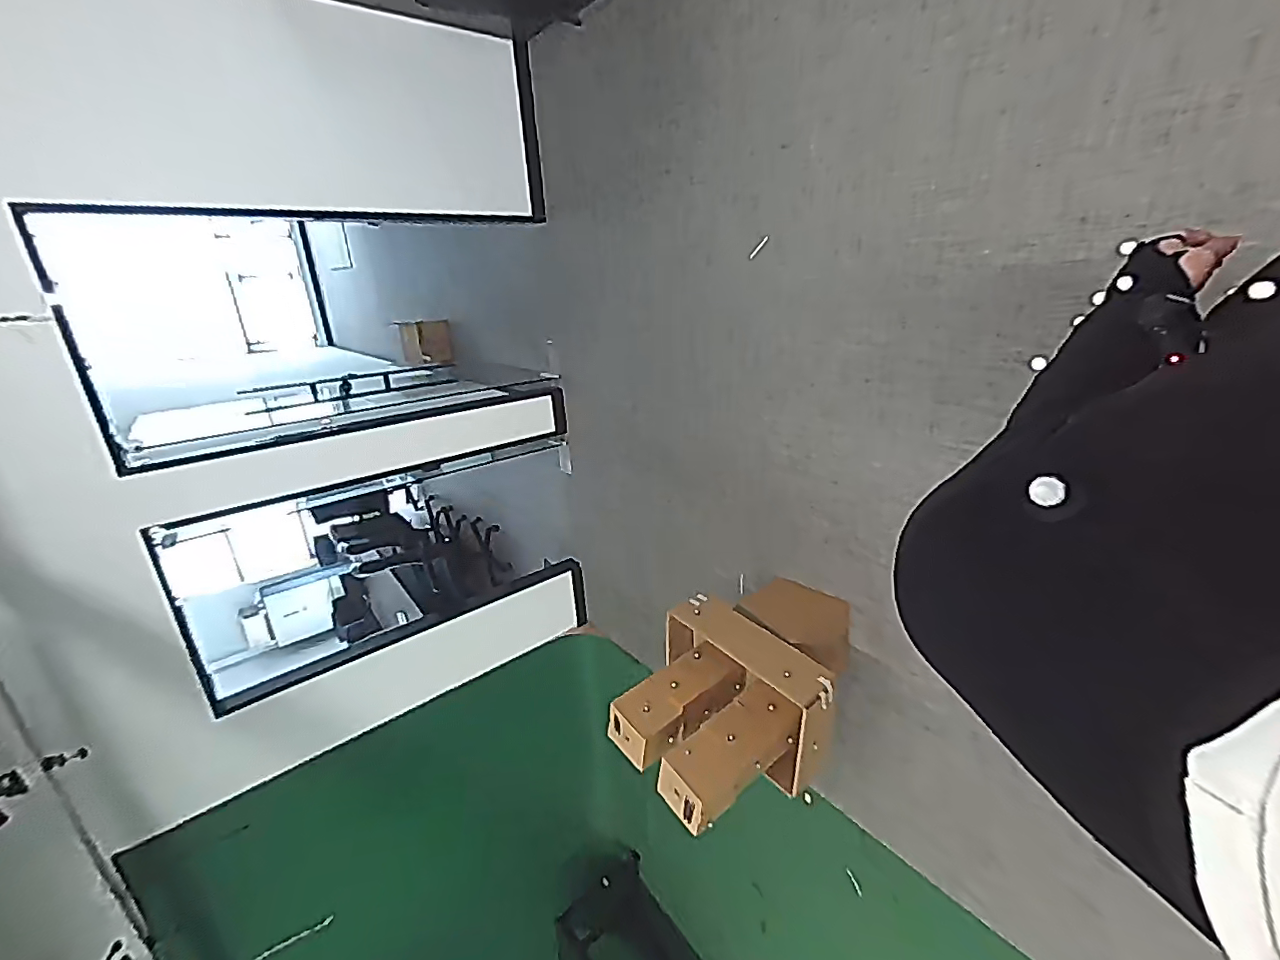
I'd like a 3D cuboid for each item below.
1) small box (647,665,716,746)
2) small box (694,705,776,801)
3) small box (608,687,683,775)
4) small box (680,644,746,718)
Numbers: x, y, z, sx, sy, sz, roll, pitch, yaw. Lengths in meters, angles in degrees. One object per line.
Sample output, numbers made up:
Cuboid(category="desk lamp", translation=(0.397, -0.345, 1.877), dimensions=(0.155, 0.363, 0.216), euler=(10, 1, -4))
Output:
Cuboid(category="small box", translation=(0.143, 0.770, 1.876), dimensions=(0.179, 0.176, 0.168), euler=(21, 120, 45))
Cuboid(category="small box", translation=(0.300, 0.849, 1.701), dimensions=(0.179, 0.176, 0.168), euler=(36, 130, 40))
Cuboid(category="small box", translation=(0.017, 0.815, 1.781), dimensions=(0.179, 0.176, 0.168), euler=(30, 127, 39))
Cuboid(category="small box", translation=(0.263, 0.727, 1.975), dimensions=(0.179, 0.176, 0.168), euler=(22, 122, 45))
